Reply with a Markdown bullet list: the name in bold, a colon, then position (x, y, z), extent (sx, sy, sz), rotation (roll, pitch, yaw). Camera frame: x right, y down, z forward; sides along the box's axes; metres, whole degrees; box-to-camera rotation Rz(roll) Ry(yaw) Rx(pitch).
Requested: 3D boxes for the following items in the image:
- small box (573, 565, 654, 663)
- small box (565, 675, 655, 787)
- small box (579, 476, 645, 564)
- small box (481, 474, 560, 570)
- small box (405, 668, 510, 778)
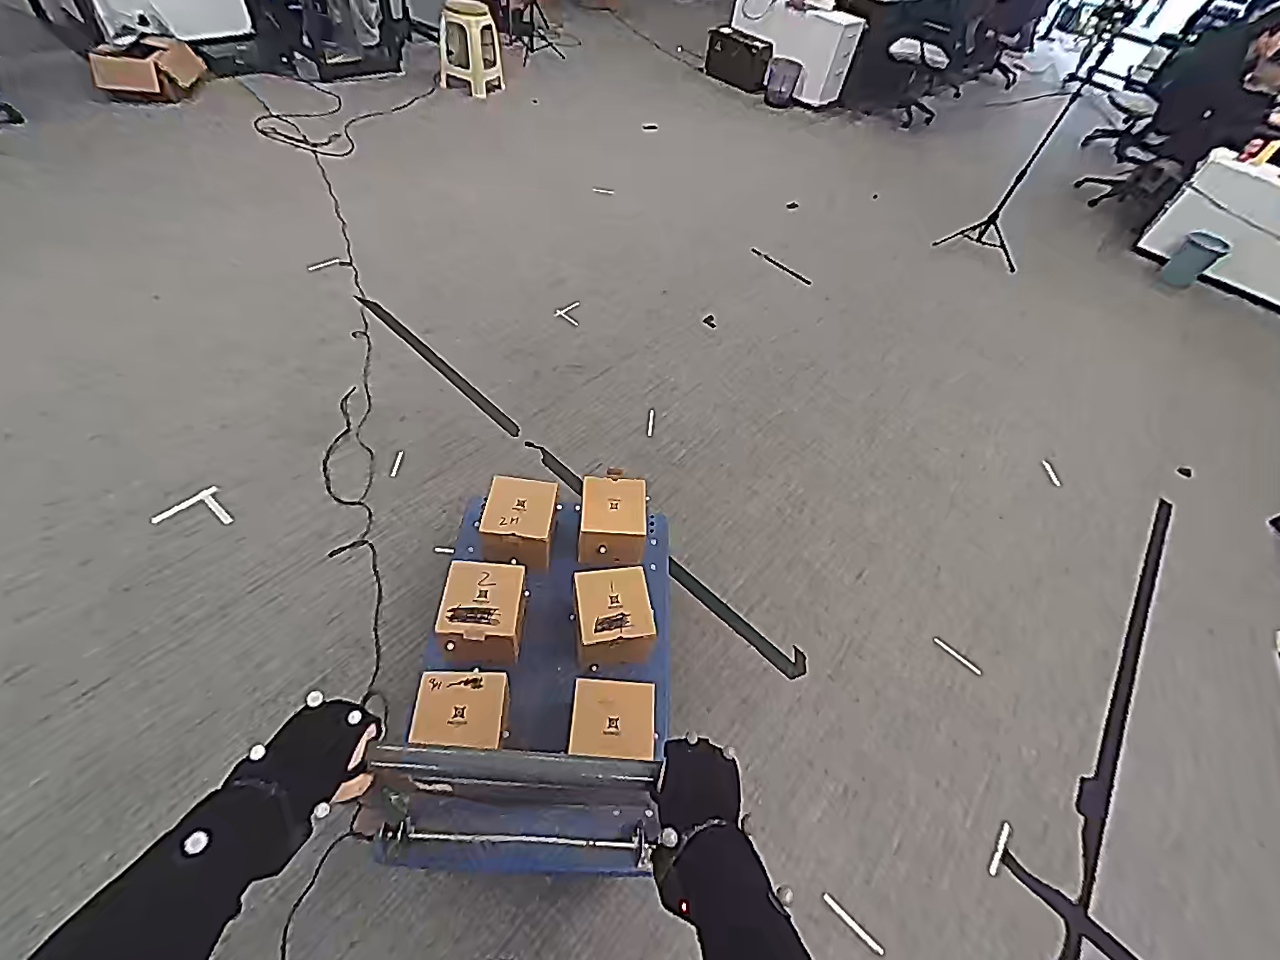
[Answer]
- **small box**: position (-0.069, 0.325, 1.290), extent (0.168, 0.176, 0.179), rotation (-3, 52, -13)
- **small box**: position (-0.064, 0.529, 1.131), extent (0.168, 0.176, 0.179), rotation (7, 51, -5)
- **small box**: position (-0.077, 0.111, 1.458), extent (0.168, 0.176, 0.179), rotation (4, 52, -7)
- **small box**: position (-0.307, 0.112, 1.412), extent (0.168, 0.176, 0.179), rotation (8, 52, -4)
- **small box**: position (-0.359, 0.498, 1.099), extent (0.168, 0.176, 0.179), rotation (4, 52, -8)
